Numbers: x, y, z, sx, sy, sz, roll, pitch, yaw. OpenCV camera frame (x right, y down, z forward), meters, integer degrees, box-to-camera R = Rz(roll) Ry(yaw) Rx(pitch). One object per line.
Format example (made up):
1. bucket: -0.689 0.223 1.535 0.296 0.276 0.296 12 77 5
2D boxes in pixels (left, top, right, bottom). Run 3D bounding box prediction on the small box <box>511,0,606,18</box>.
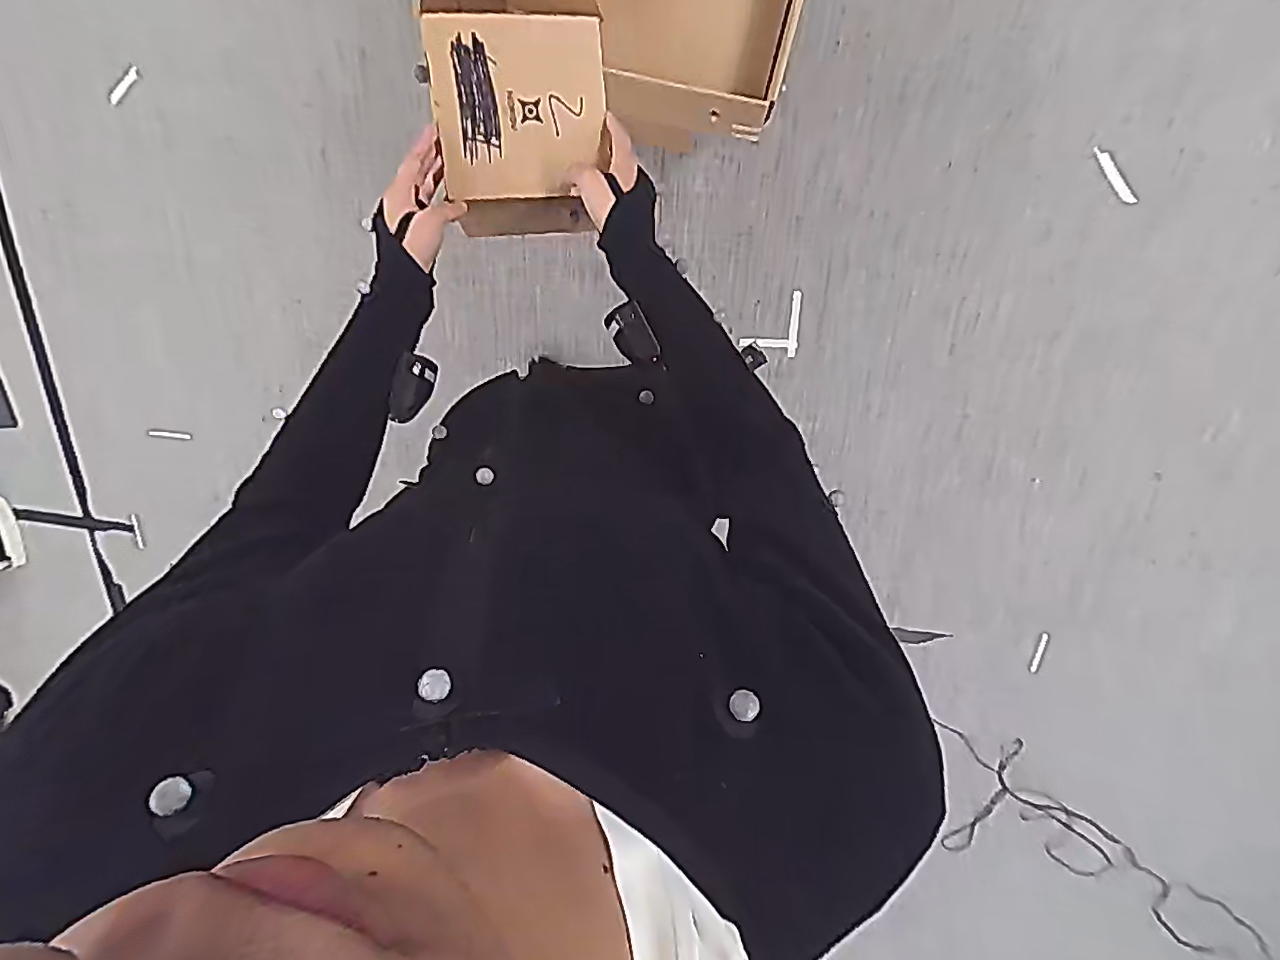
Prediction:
1. small box: -0.147 -0.888 0.870 0.179 0.176 0.168 11 109 3
